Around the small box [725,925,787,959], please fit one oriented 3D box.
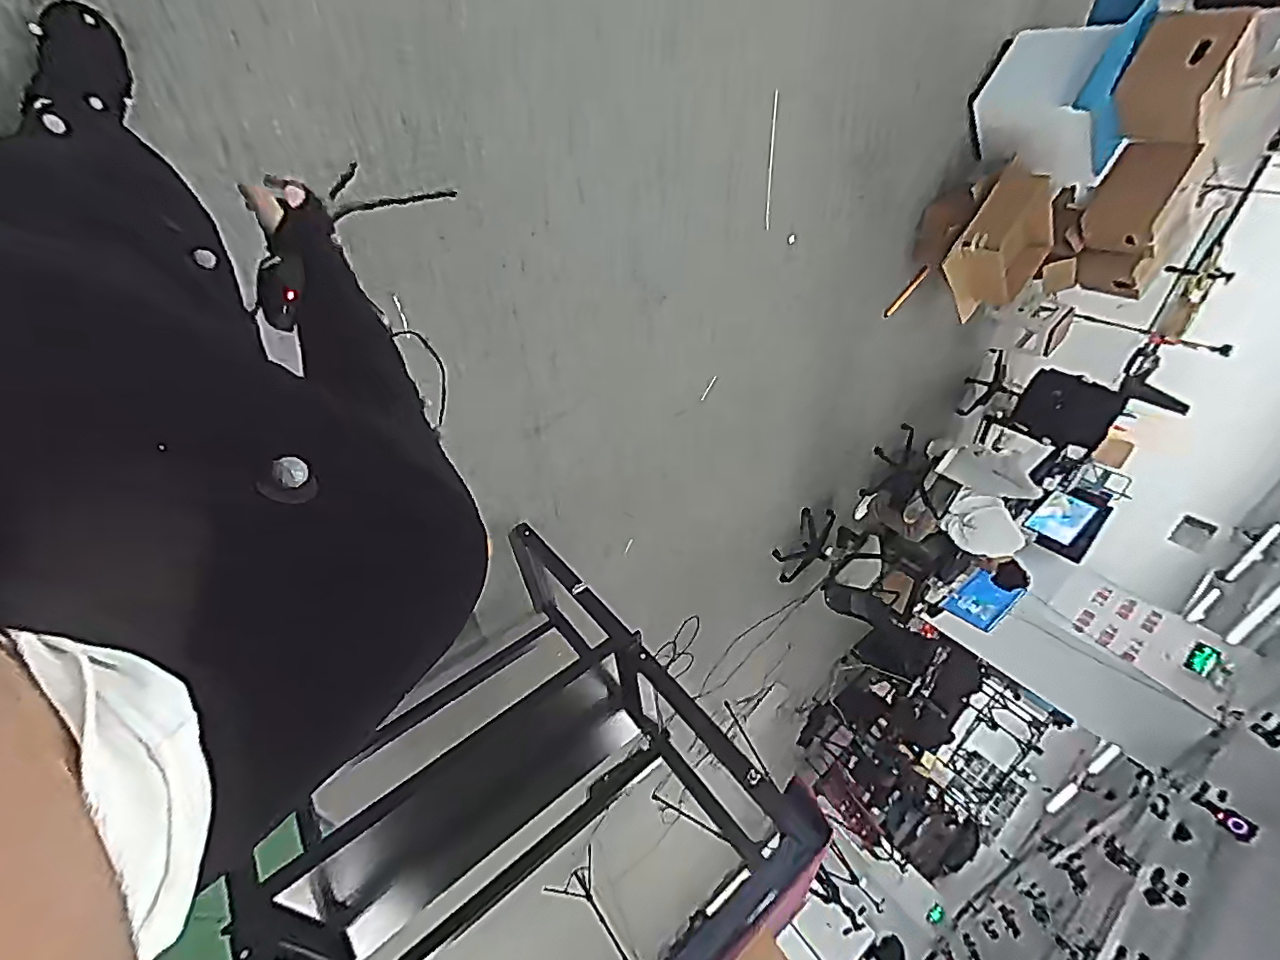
[{"bbox_3d":[0.245,1.103,1.145,0.179,0.176,0.168,-25,134,-29],"label":"small box"}]
